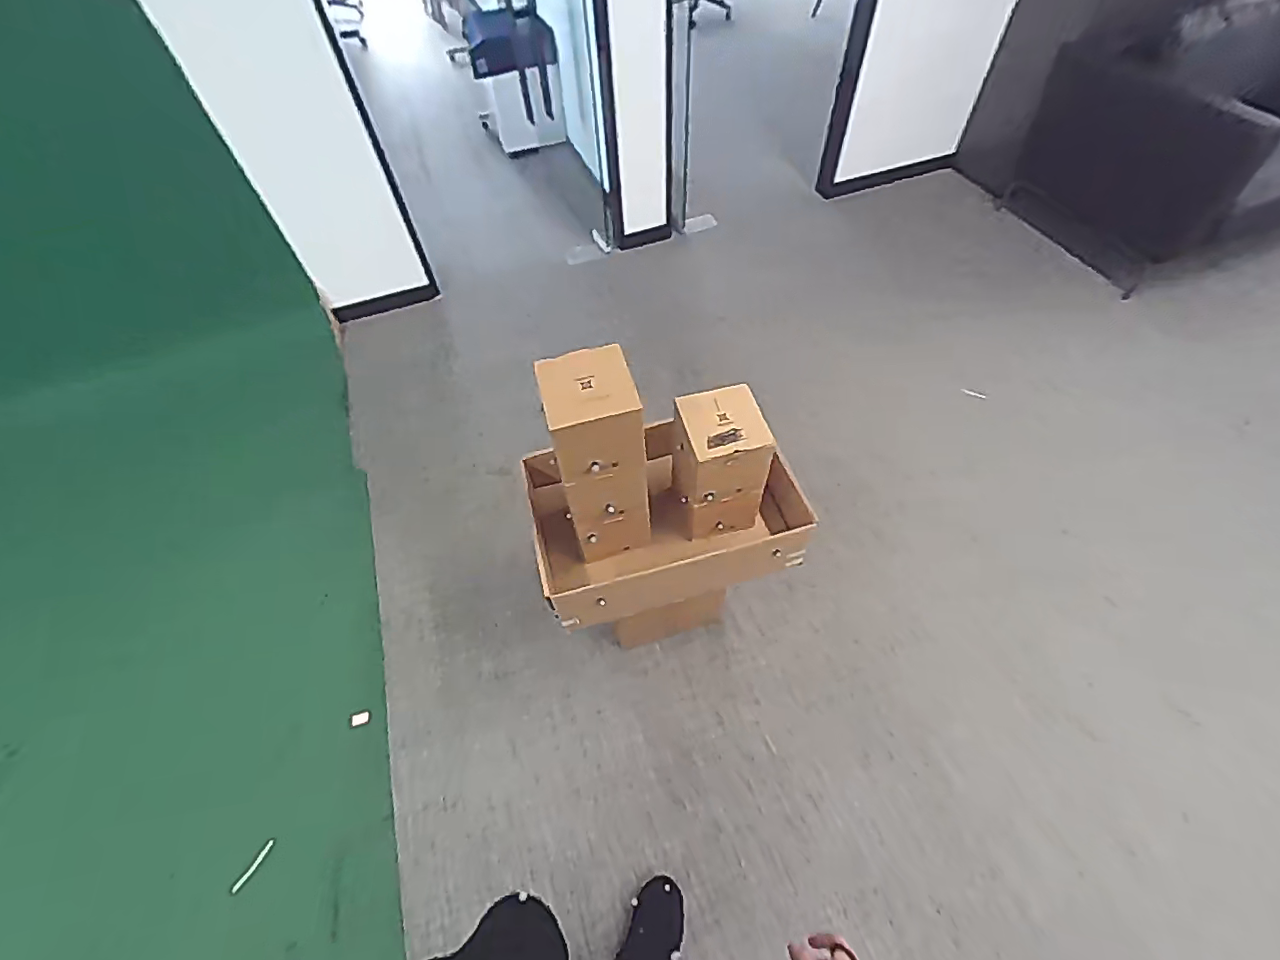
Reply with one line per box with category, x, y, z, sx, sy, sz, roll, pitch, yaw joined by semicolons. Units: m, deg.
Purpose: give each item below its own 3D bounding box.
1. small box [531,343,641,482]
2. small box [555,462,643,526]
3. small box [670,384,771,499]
small box;-0.099;-0.124;1.014;0.168;0.176;0.179;-14;55;-6
small box;-0.095;-0.030;1.146;0.168;0.176;0.179;-14;55;-7
small box;0.166;-0.076;1.169;0.168;0.176;0.179;-12;55;-6
